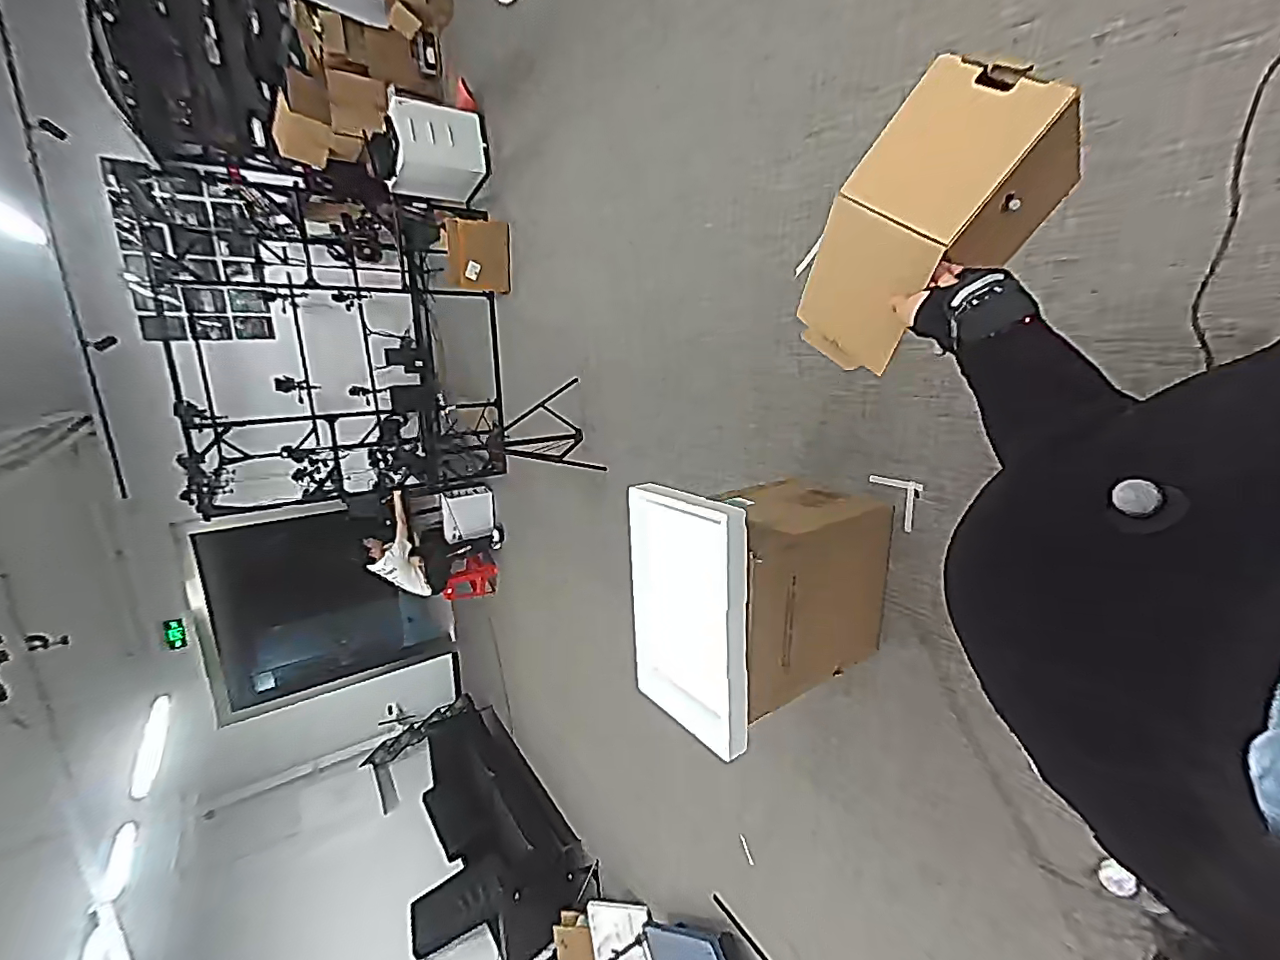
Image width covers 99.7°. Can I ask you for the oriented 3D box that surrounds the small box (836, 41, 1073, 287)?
[{"bbox_3d":[0.381,-0.365,0.652,0.179,0.176,0.168,-53,56,22],"label":"small box"}]
